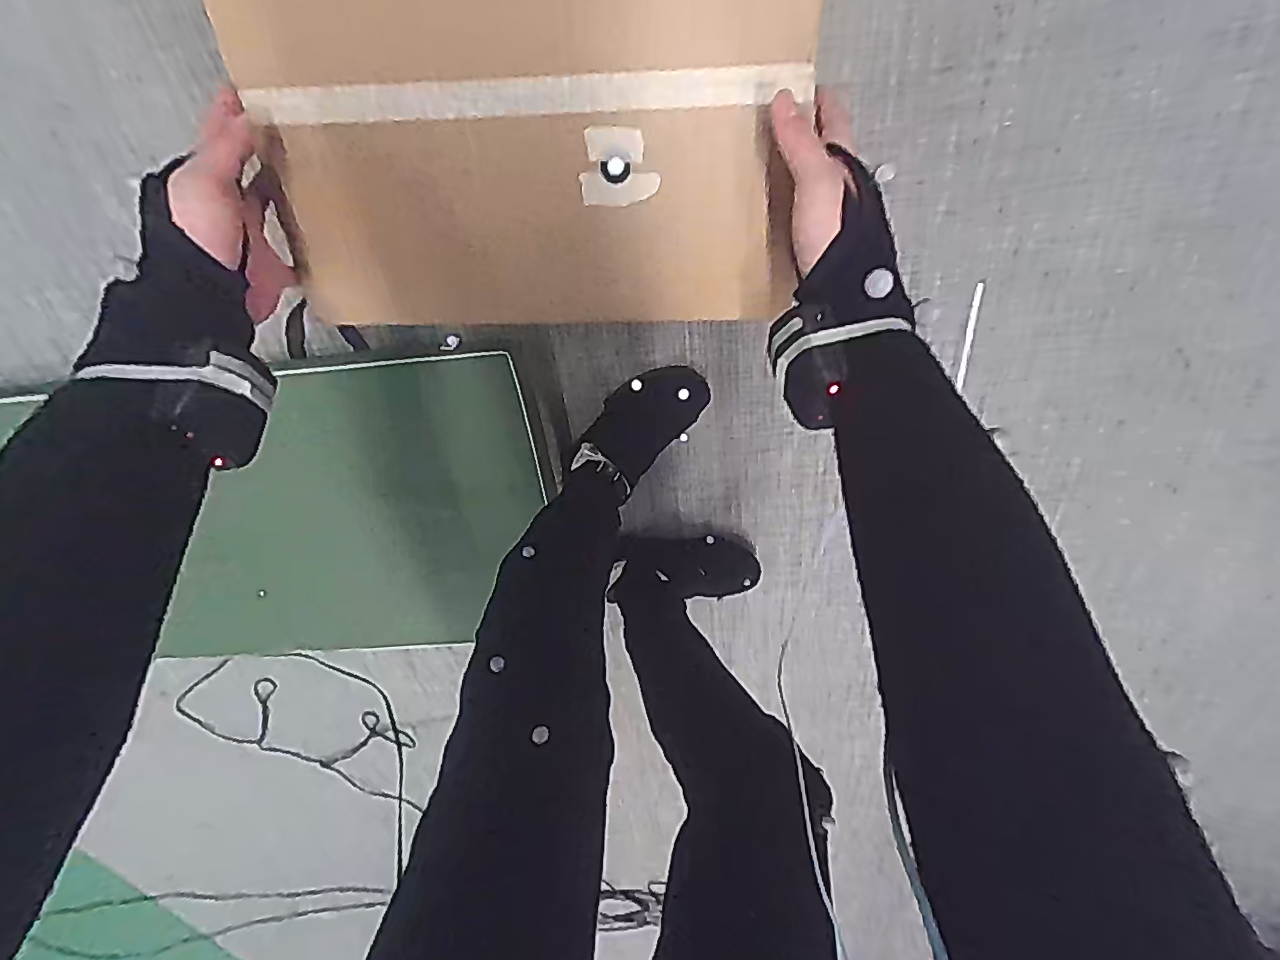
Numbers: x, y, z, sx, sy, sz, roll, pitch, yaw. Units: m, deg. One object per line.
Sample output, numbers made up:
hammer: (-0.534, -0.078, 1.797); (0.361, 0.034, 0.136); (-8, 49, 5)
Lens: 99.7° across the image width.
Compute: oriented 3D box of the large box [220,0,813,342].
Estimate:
large box: (-0.078, -0.332, 0.520); (0.408, 0.320, 0.320); (0, 120, 3)
